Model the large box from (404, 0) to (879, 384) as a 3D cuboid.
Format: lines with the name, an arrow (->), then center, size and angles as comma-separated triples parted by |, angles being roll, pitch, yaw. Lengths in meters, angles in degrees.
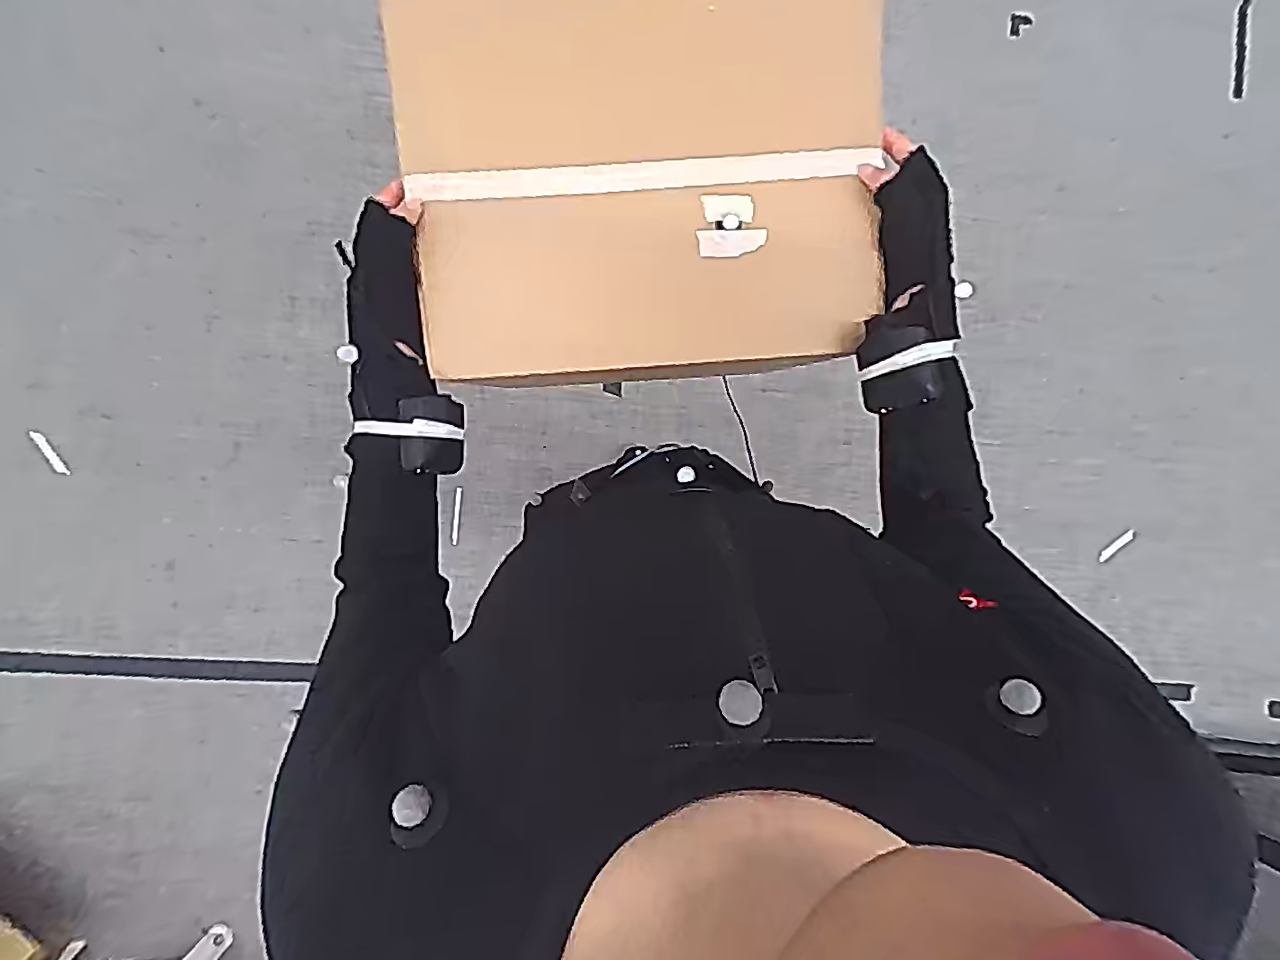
large box -> 0.002, -0.283, 0.617 | 0.408, 0.320, 0.320 | -4, 99, -4
